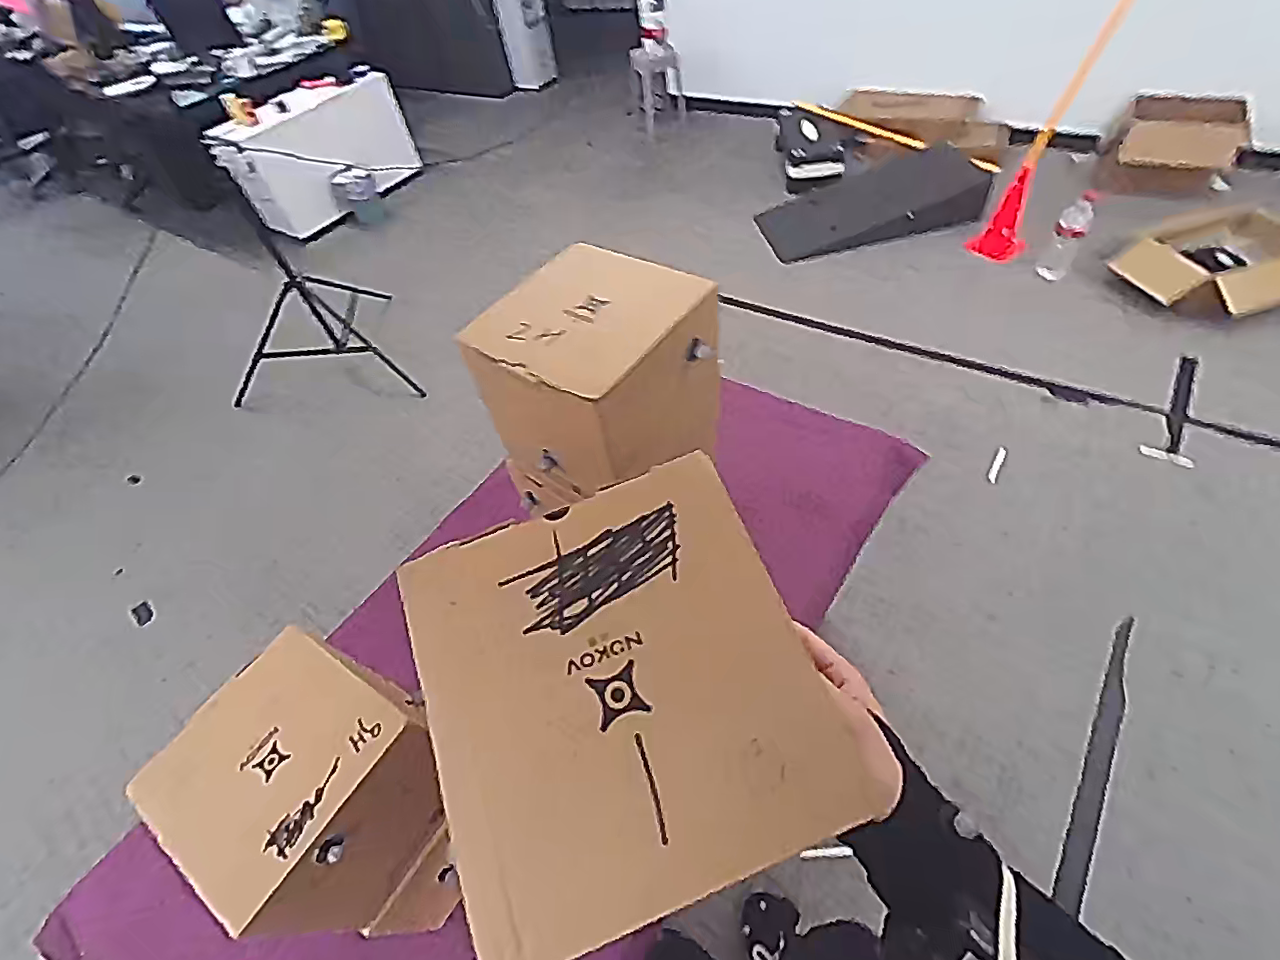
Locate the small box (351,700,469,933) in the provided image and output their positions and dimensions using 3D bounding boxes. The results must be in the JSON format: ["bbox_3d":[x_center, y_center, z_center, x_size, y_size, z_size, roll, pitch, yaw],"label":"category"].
[{"bbox_3d":[-0.260,0.372,0.626,0.179,0.176,0.168,24,60,26],"label":"small box"}]

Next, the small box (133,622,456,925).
[{"bbox_3d":[-0.288,0.269,0.501,0.179,0.176,0.168,22,60,26],"label":"small box"}]

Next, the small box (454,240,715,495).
[{"bbox_3d":[-0.040,-0.100,0.534,0.168,0.176,0.179,27,61,27],"label":"small box"}]

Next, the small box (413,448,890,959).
[{"bbox_3d":[-0.002,0.115,0.309,0.168,0.176,0.179,-21,66,-5],"label":"small box"}]
